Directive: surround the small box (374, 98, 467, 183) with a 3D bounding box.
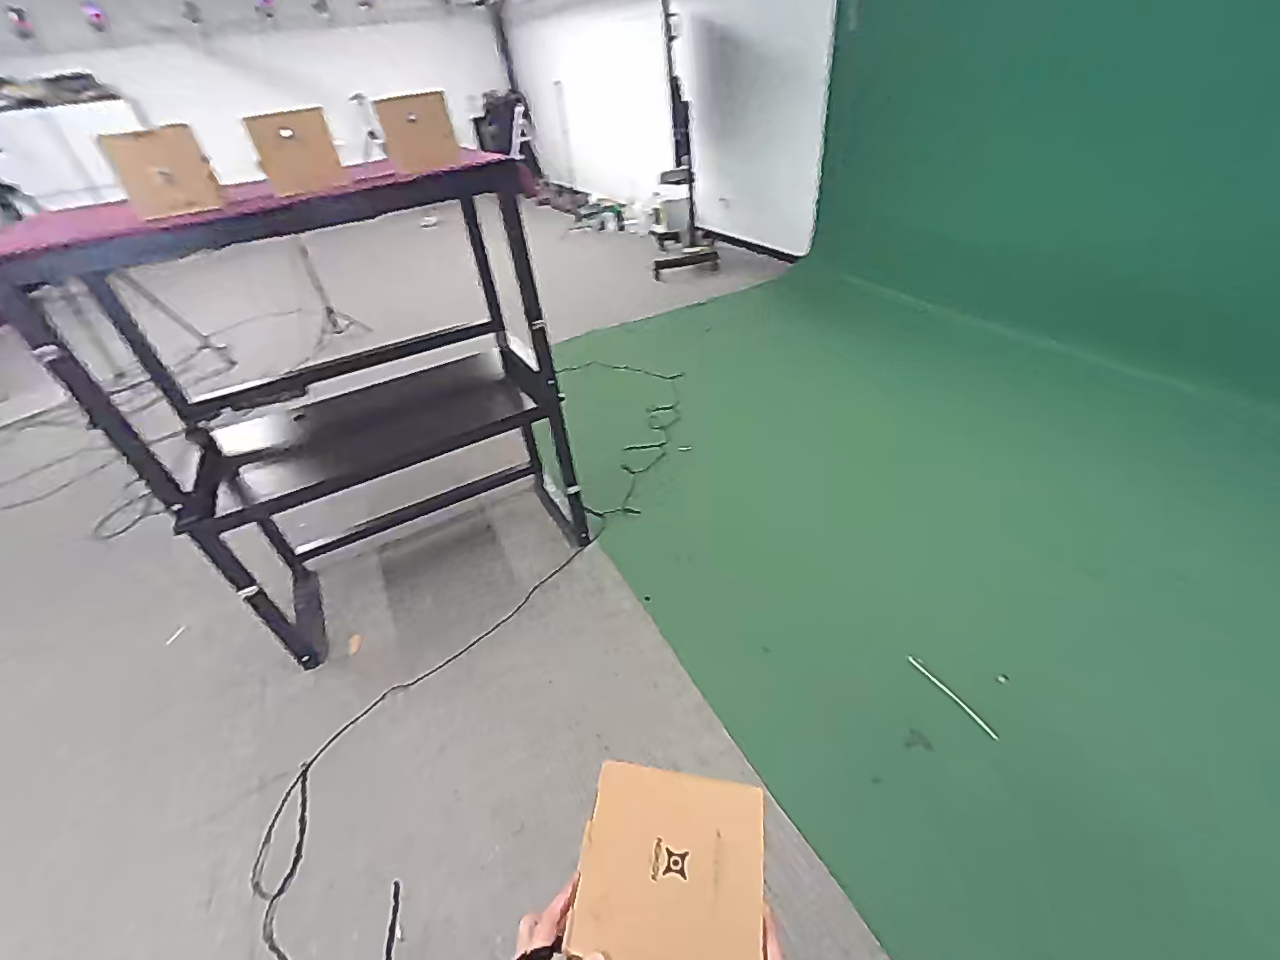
[{"bbox_3d":[-0.584,-0.905,1.441,0.179,0.176,0.168,-20,40,-16],"label":"small box"}]

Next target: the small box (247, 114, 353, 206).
[{"bbox_3d":[-0.839,-0.803,1.353,0.179,0.176,0.168,-23,39,-18],"label":"small box"}]

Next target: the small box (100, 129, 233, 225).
[{"bbox_3d":[-1.086,-0.704,1.259,0.168,0.176,0.179,-22,39,-20],"label":"small box"}]
